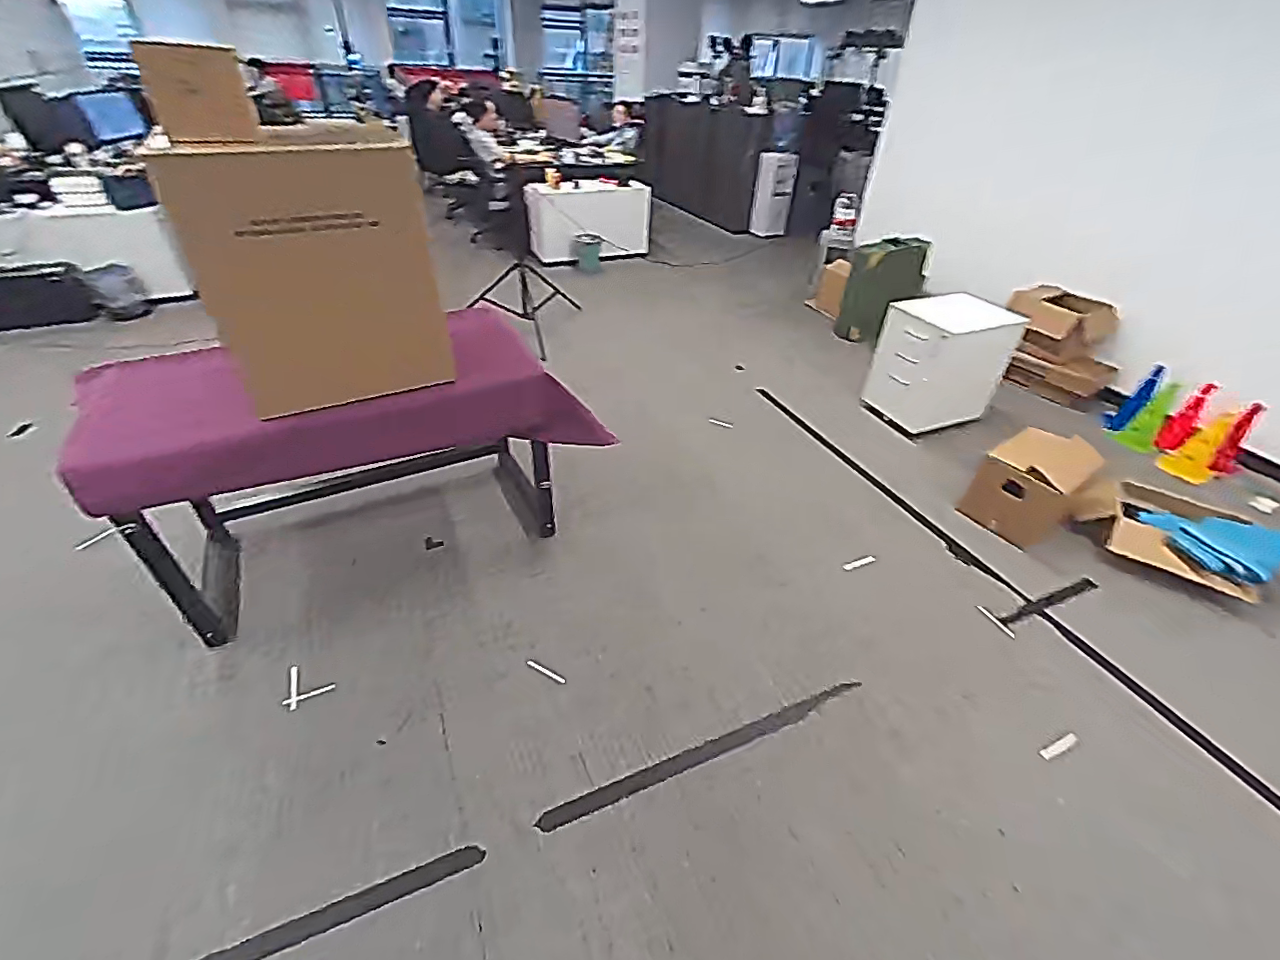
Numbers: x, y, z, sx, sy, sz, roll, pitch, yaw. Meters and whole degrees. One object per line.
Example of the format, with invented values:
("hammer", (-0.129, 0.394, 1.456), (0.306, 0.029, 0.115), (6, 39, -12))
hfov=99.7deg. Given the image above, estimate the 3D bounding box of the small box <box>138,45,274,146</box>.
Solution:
("small box", (-0.937, -0.841, 1.185), (0.179, 0.176, 0.168), (-16, 43, -23))
